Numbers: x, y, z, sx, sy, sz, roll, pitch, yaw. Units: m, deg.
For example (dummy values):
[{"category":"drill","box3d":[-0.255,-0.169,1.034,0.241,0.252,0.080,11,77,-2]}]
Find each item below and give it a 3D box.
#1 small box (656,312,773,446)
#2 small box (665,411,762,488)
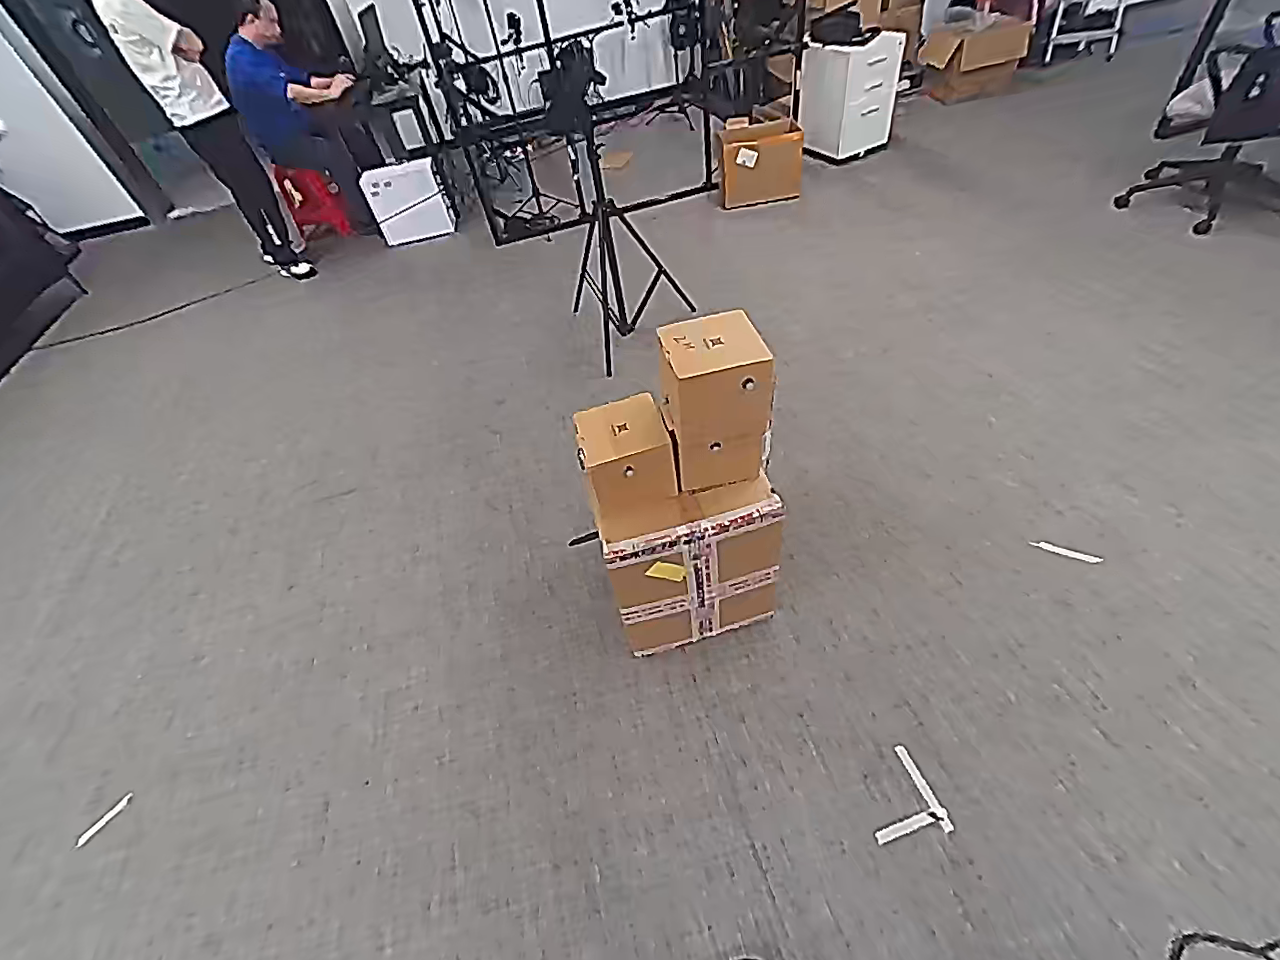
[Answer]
[{"category":"small box","box3d":[0.135,-0.190,1.029,0.179,0.176,0.168,-13,48,-4]},{"category":"small box","box3d":[0.153,-0.101,1.169,0.179,0.176,0.168,-11,49,-2]}]
